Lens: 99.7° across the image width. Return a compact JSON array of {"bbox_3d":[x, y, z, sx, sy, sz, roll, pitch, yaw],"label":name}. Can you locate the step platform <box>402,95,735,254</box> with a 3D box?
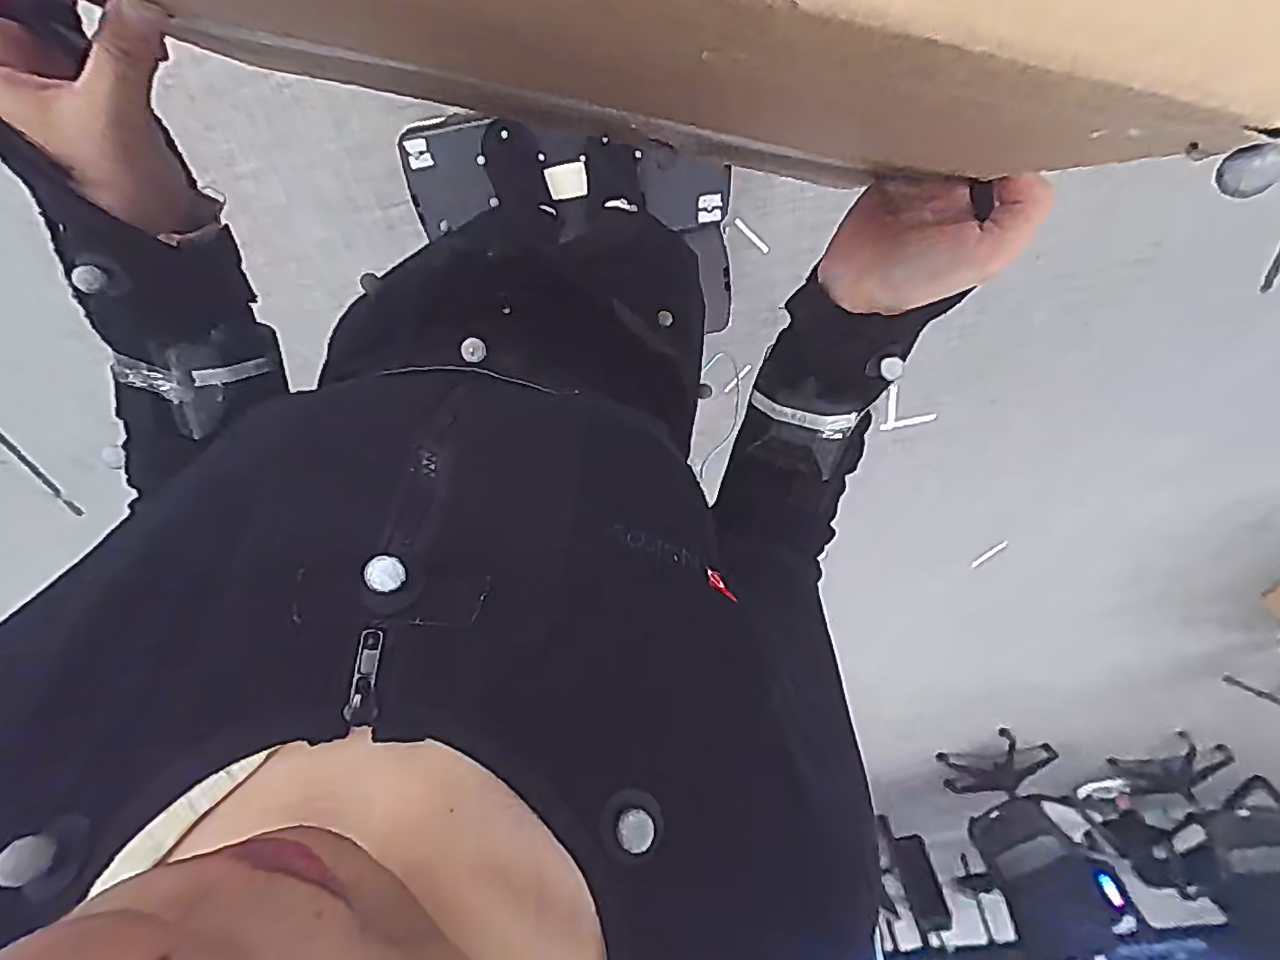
[{"bbox_3d":[-0.140,-0.682,1.170,0.684,0.204,0.286,-6,128,1],"label":"step platform"}]

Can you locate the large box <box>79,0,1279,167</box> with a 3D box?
[{"bbox_3d":[-0.033,-0.316,0.168,0.408,0.320,0.320,7,118,-5],"label":"large box"}]
